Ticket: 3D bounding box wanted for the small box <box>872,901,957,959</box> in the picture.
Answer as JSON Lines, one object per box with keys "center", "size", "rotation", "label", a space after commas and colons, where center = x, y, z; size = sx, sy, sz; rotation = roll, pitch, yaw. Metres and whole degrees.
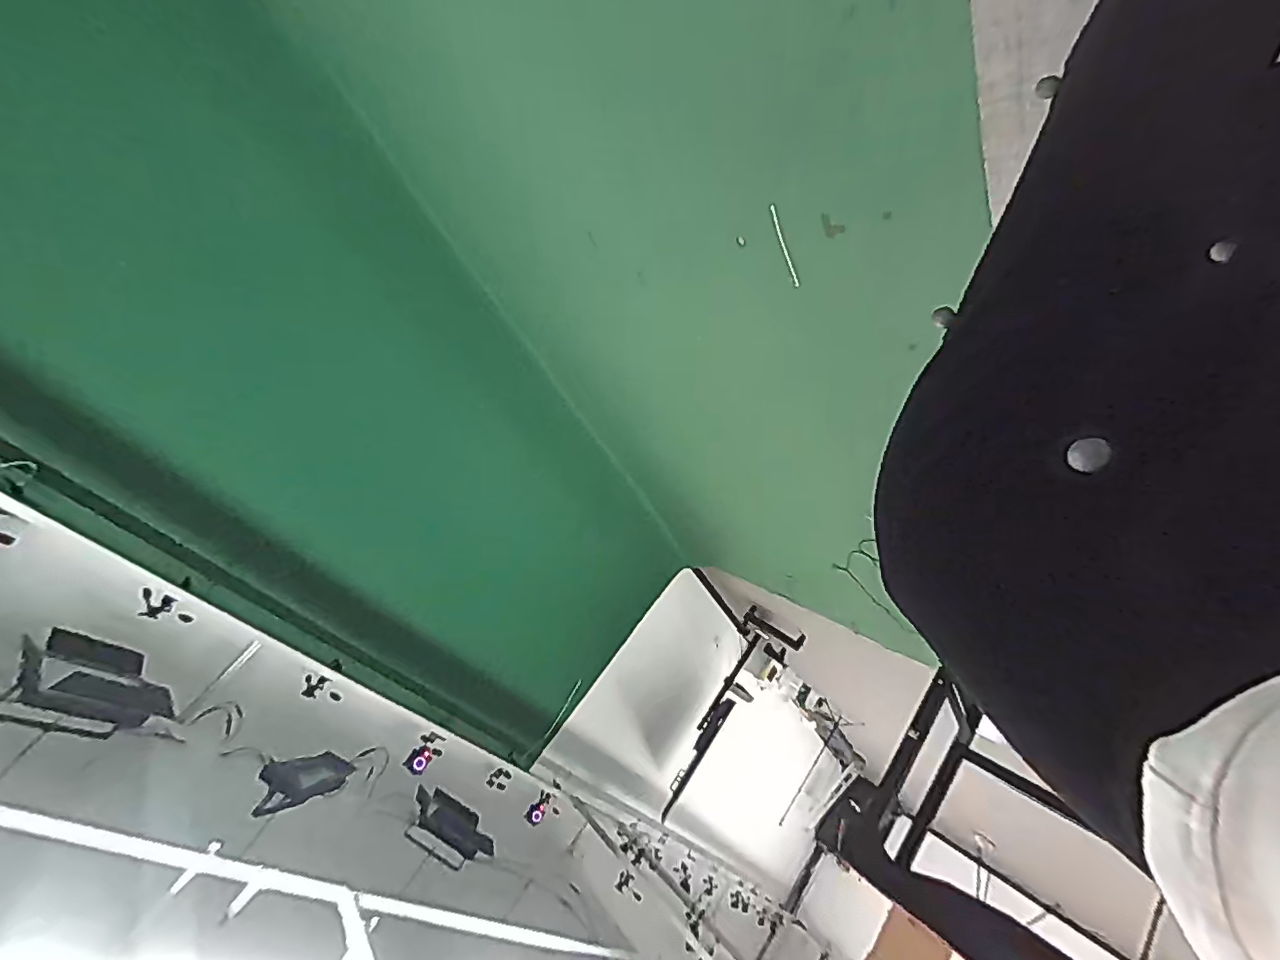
{"center": [0.824, 1.406, 1.612], "size": [0.168, 0.176, 0.179], "rotation": [20, 154, 45], "label": "small box"}
